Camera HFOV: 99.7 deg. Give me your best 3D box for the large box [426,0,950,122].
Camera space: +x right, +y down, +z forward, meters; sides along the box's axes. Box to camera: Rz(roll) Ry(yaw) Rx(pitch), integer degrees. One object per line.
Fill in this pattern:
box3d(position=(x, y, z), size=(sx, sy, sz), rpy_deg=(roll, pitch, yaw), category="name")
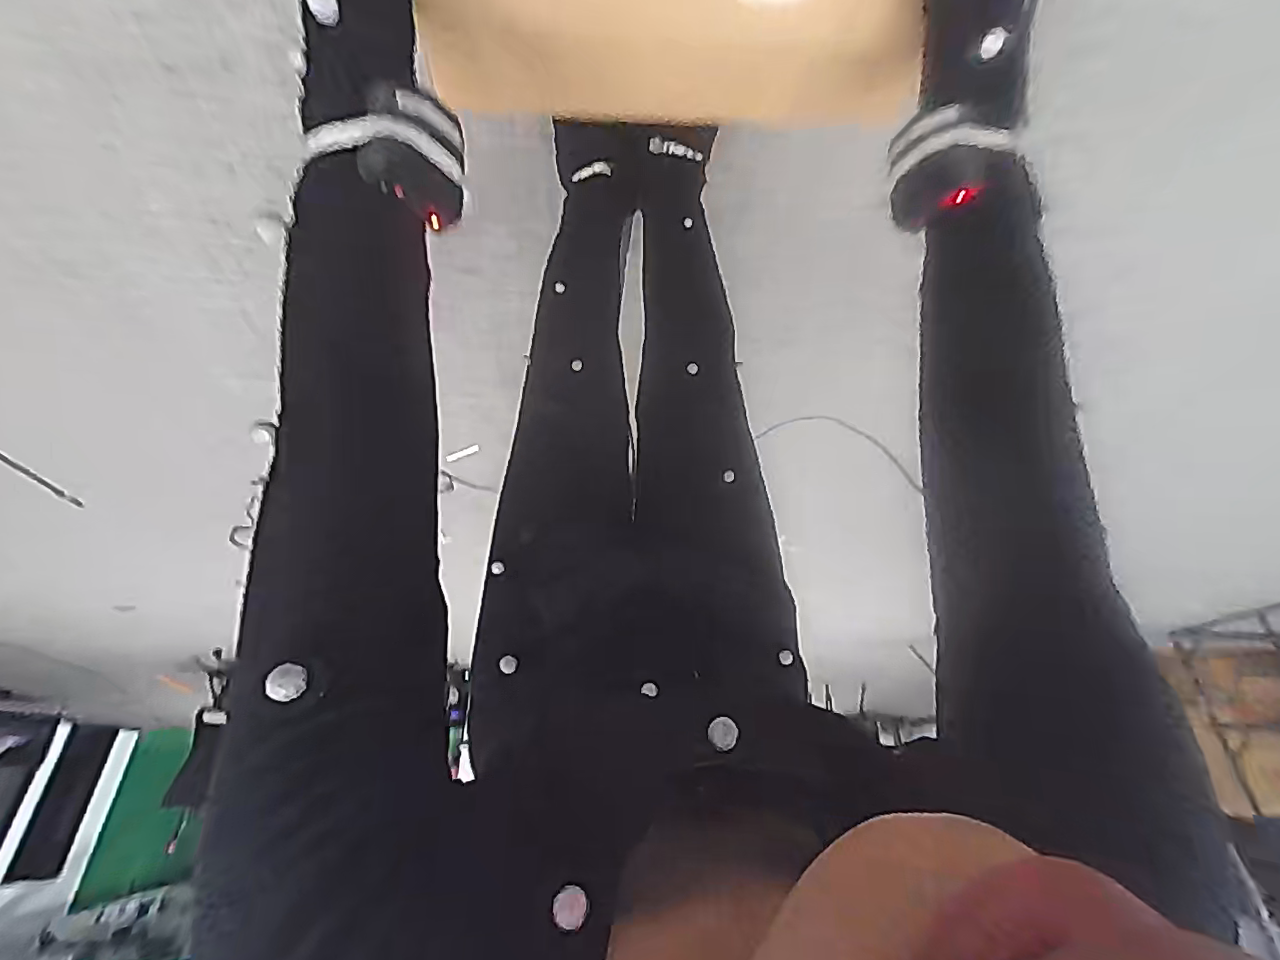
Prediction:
box3d(position=(0.032, -0.522, 0.419), size=(0.408, 0.320, 0.320), rpy_deg=(-1, 151, -4), category="large box")
